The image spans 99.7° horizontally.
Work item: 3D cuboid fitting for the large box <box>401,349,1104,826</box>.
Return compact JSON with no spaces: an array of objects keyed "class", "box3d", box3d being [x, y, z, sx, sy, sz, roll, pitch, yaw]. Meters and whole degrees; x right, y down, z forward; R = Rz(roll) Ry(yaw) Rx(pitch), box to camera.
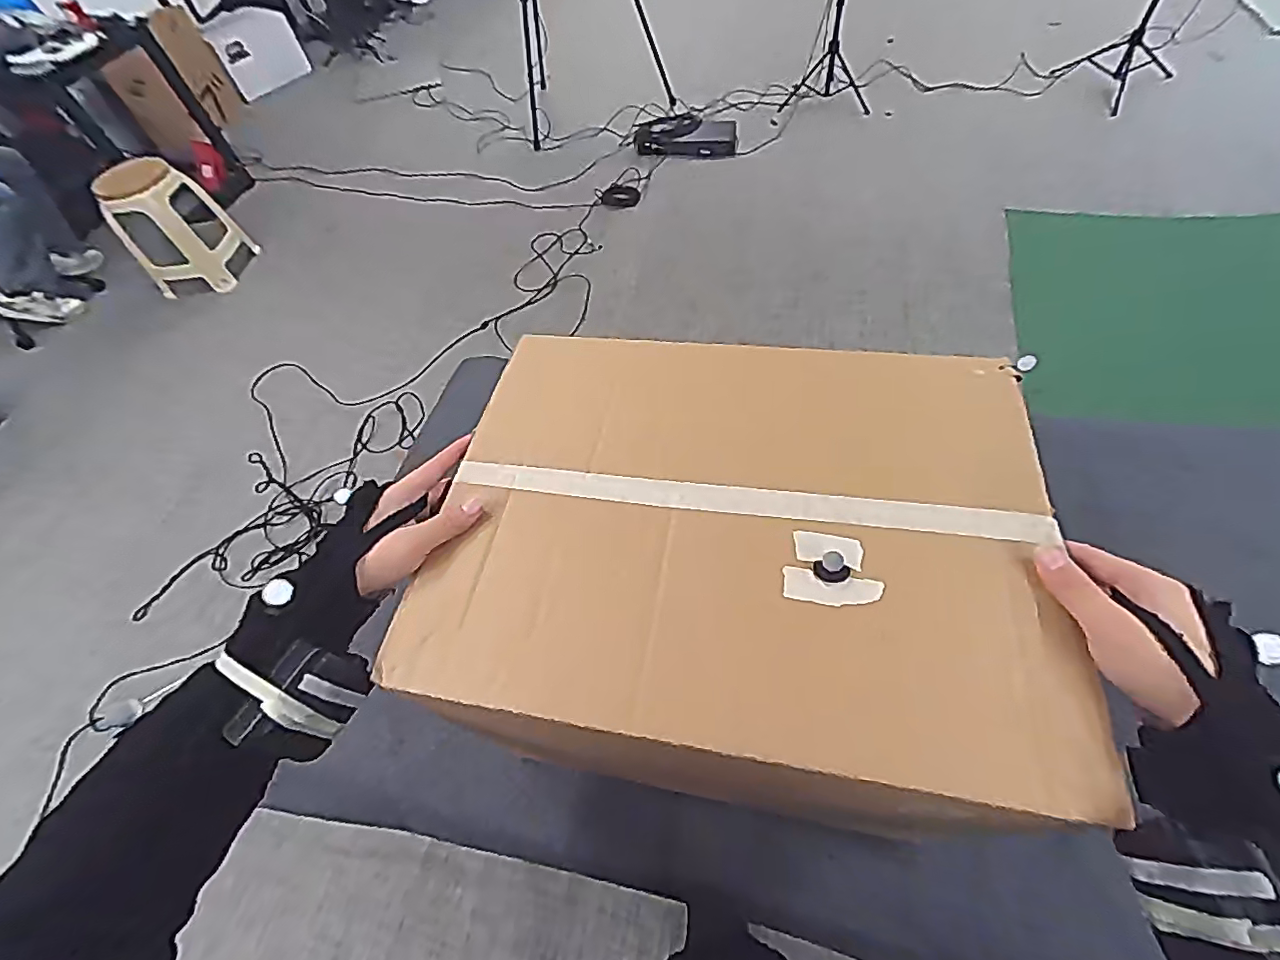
[{"class":"large box","box3d":[0.079,0.104,0.508,0.408,0.320,0.320,6,57,10]}]
